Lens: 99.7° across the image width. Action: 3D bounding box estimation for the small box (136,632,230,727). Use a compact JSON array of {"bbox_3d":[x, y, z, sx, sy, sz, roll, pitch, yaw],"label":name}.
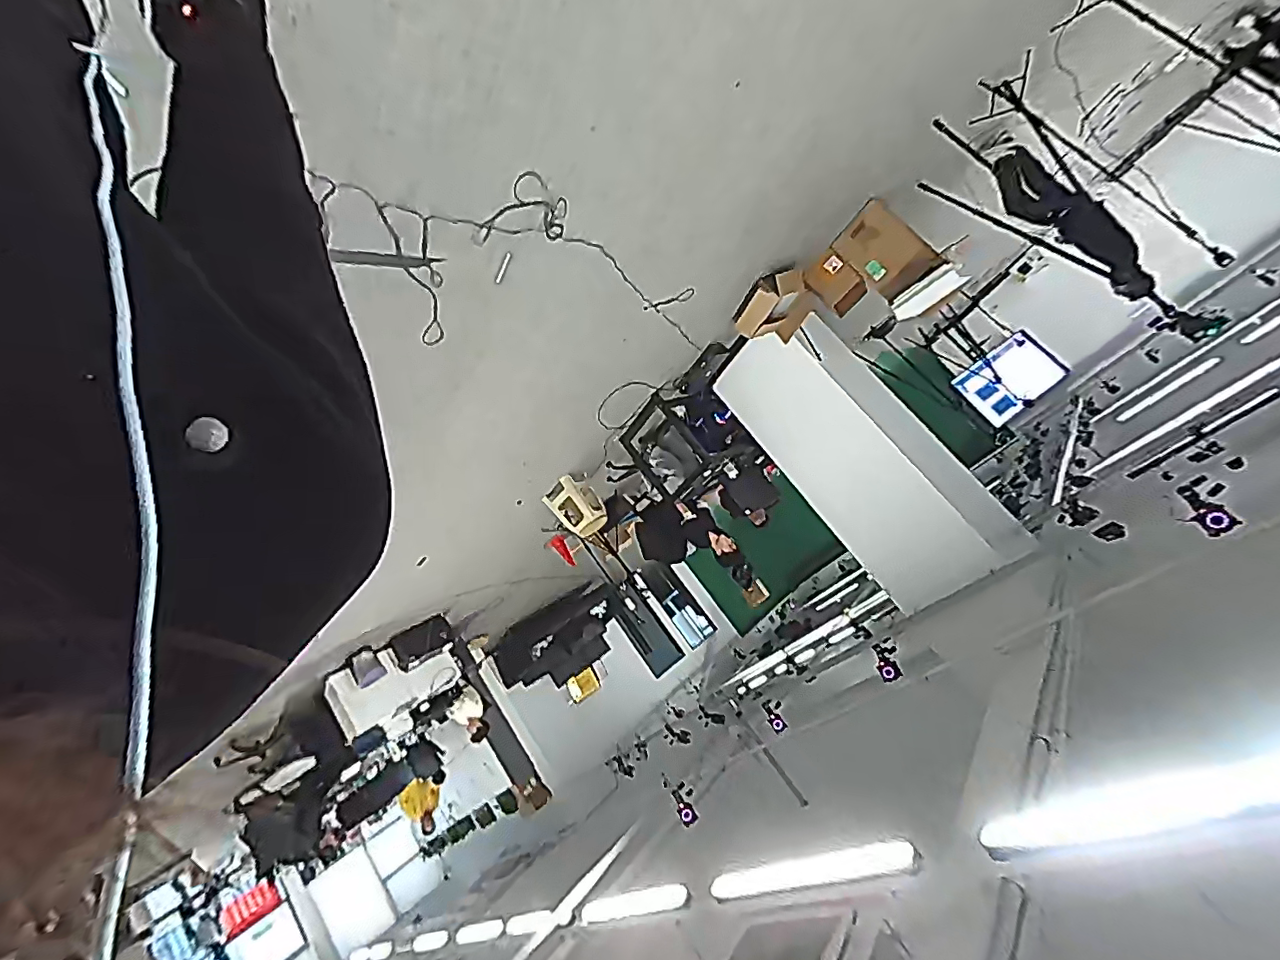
[{"bbox_3d":[-1.294,0.558,1.534,0.168,0.176,0.179,-21,159,-46],"label":"small box"}]
